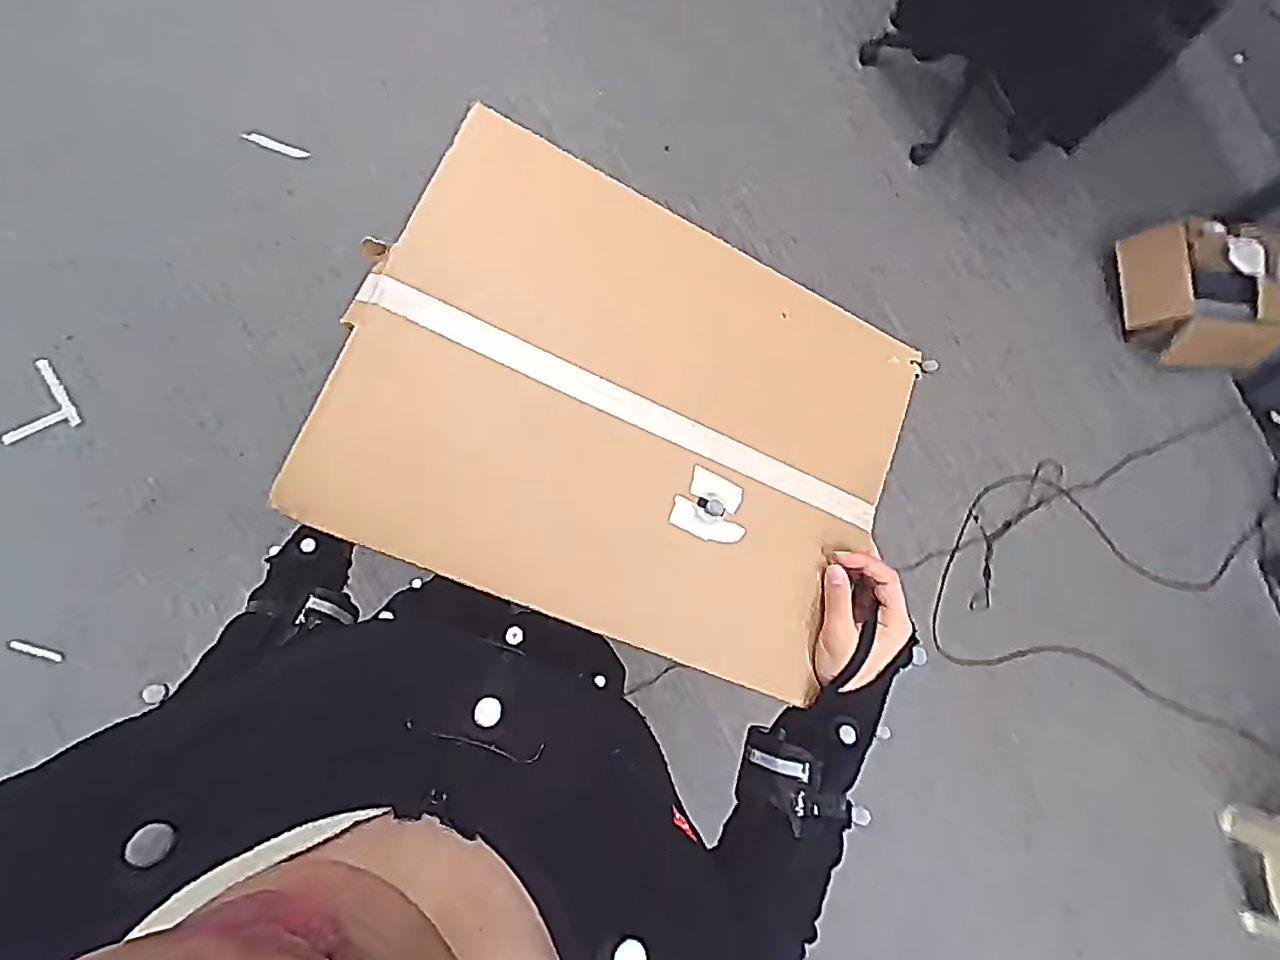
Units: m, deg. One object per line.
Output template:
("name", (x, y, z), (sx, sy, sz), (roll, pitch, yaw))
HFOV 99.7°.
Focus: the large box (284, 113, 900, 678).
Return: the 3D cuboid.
("large box", (-0.039, -0.042, 0.547), (0.408, 0.320, 0.320), (23, 80, -14))
